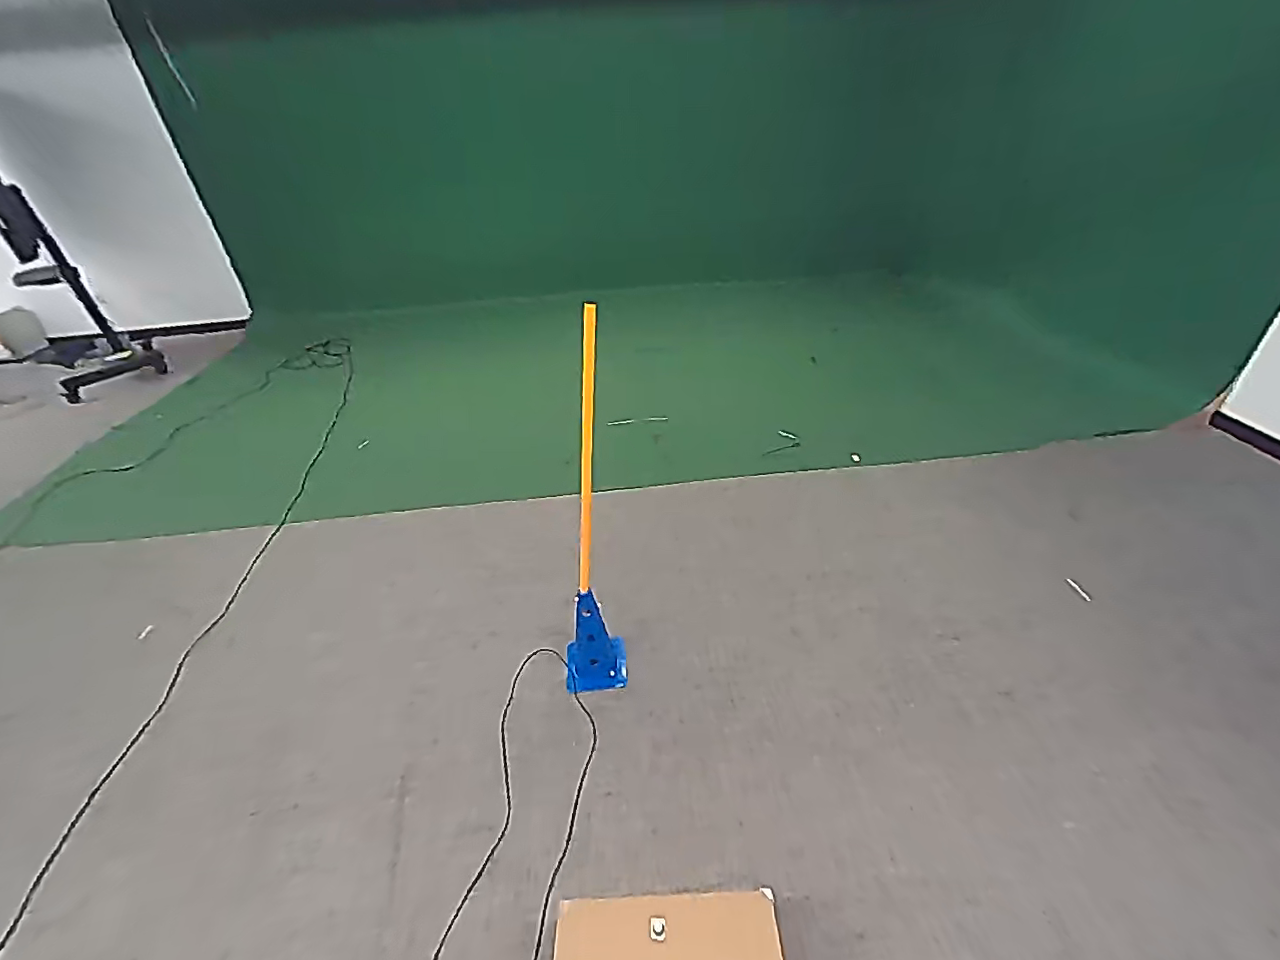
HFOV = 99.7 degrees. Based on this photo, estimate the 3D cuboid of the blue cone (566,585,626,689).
[{"bbox_3d":[-0.154,0.466,1.700,0.193,0.380,0.192,-6,36,-5],"label":"blue cone"}]
